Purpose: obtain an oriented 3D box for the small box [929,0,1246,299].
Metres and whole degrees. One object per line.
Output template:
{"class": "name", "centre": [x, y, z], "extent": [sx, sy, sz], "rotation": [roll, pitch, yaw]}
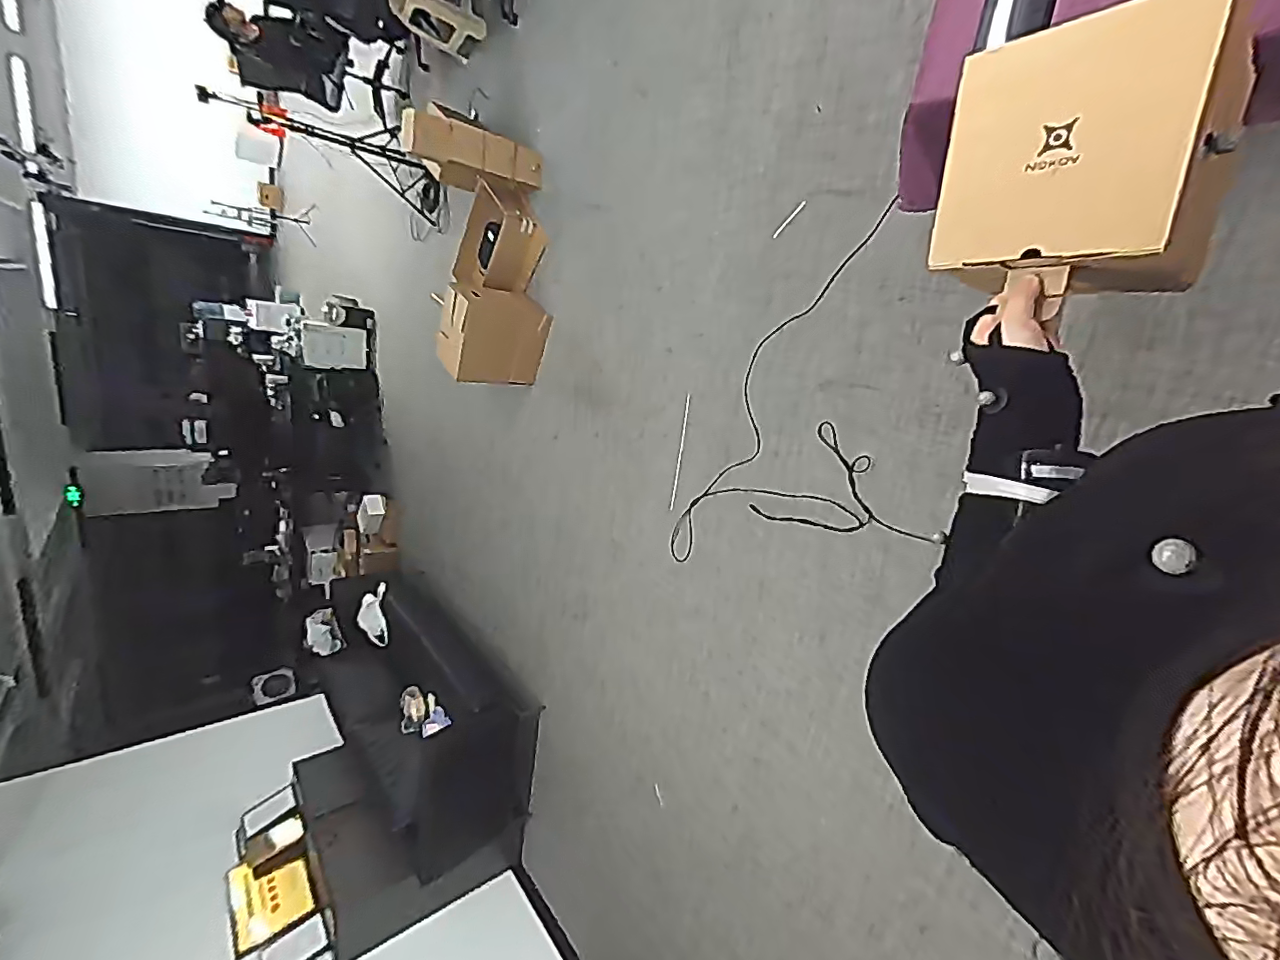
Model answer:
{"class": "small box", "centre": [0.389, -0.265, 0.478], "extent": [0.168, 0.176, 0.179], "rotation": [19, 108, 47]}
